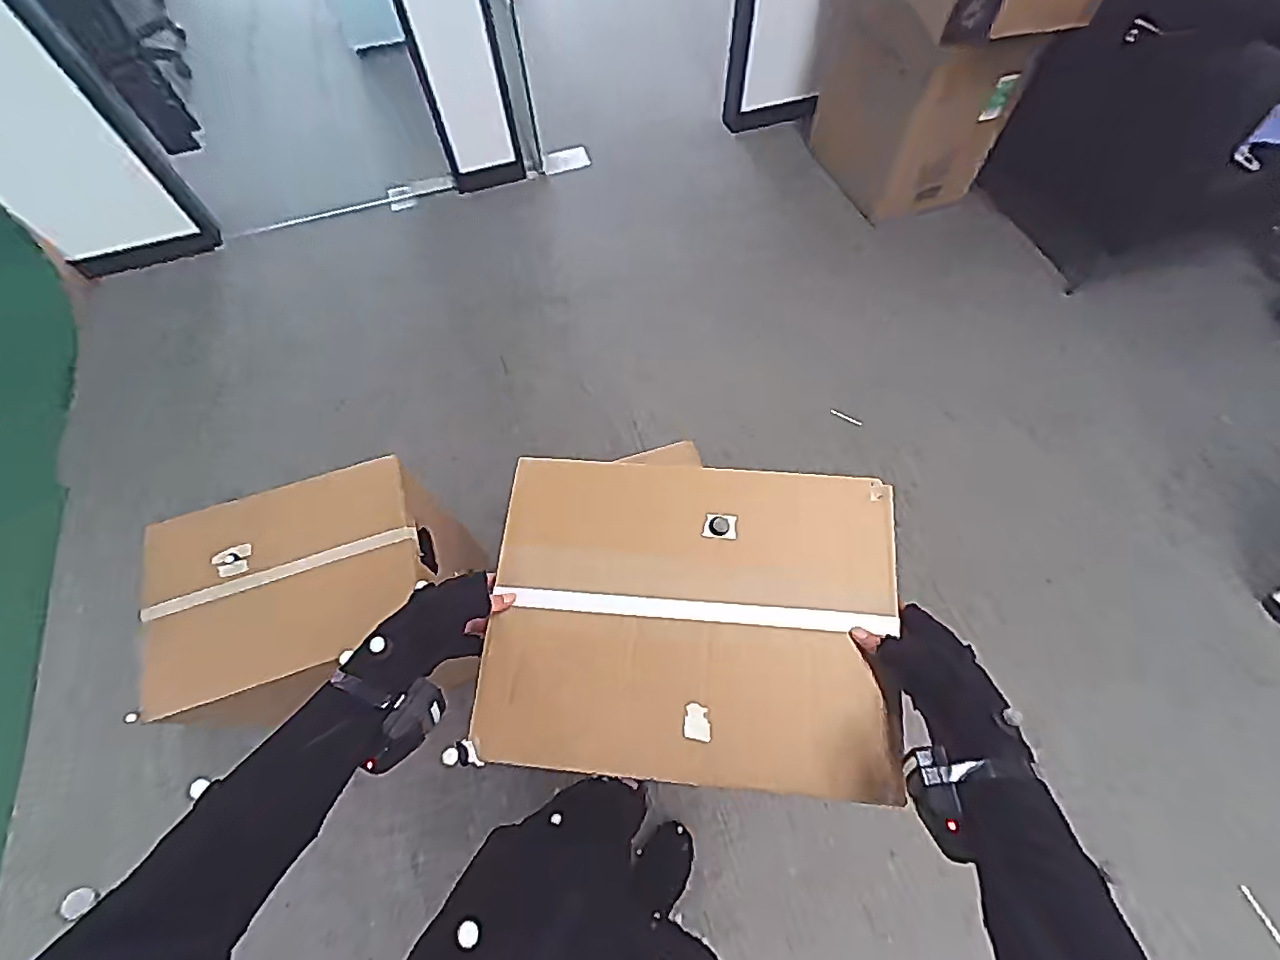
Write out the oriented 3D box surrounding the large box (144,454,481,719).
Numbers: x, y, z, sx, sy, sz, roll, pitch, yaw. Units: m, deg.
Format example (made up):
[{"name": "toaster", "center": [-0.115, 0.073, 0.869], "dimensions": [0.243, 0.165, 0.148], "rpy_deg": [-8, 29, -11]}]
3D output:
[{"name": "large box", "center": [-0.552, 0.204, 0.975], "dimensions": [0.408, 0.320, 0.320], "rpy_deg": [-17, 66, -7]}]
